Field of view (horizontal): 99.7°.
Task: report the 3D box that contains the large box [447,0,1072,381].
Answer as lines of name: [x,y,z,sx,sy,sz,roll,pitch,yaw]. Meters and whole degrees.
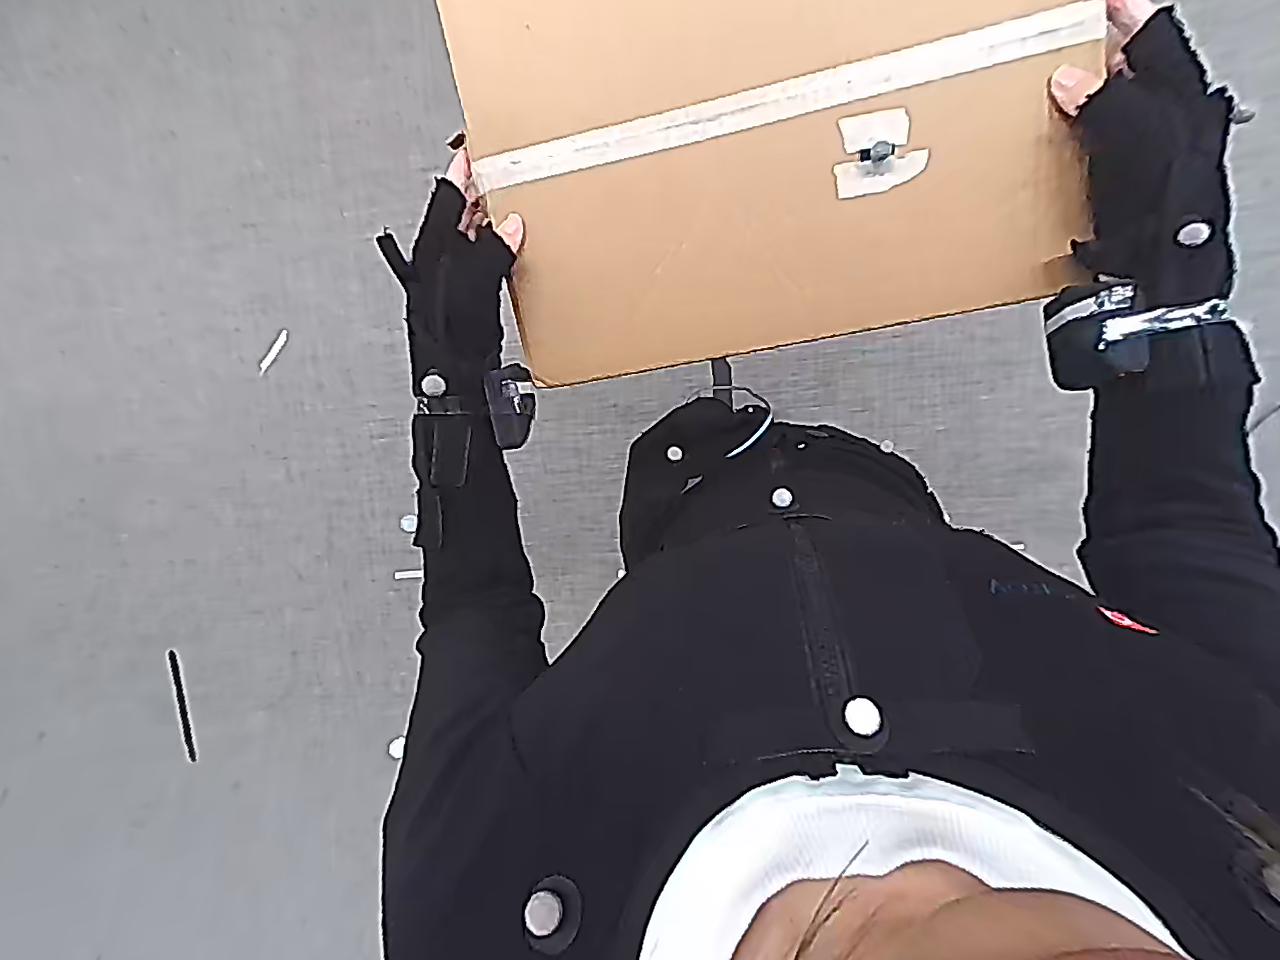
large box: [0.095,-0.300,0.517,0.408,0.320,0.320,-9,107,8]
